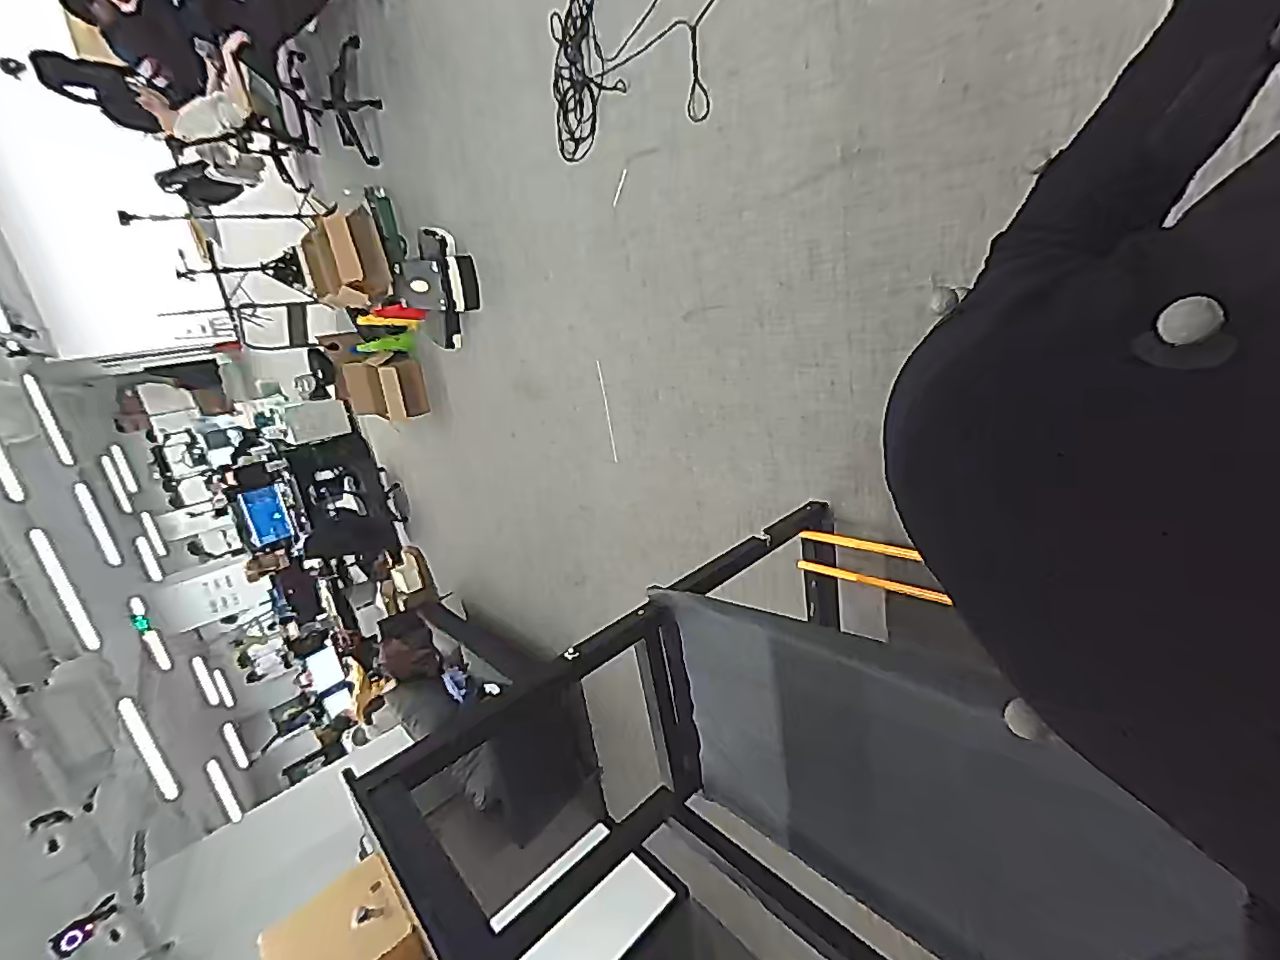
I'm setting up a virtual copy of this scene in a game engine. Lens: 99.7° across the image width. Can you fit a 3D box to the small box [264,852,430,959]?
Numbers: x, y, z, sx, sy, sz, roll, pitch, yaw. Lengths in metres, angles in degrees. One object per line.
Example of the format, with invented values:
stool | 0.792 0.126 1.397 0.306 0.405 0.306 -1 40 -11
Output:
small box | -0.415 0.711 0.792 0.168 0.176 0.179 15 119 45
